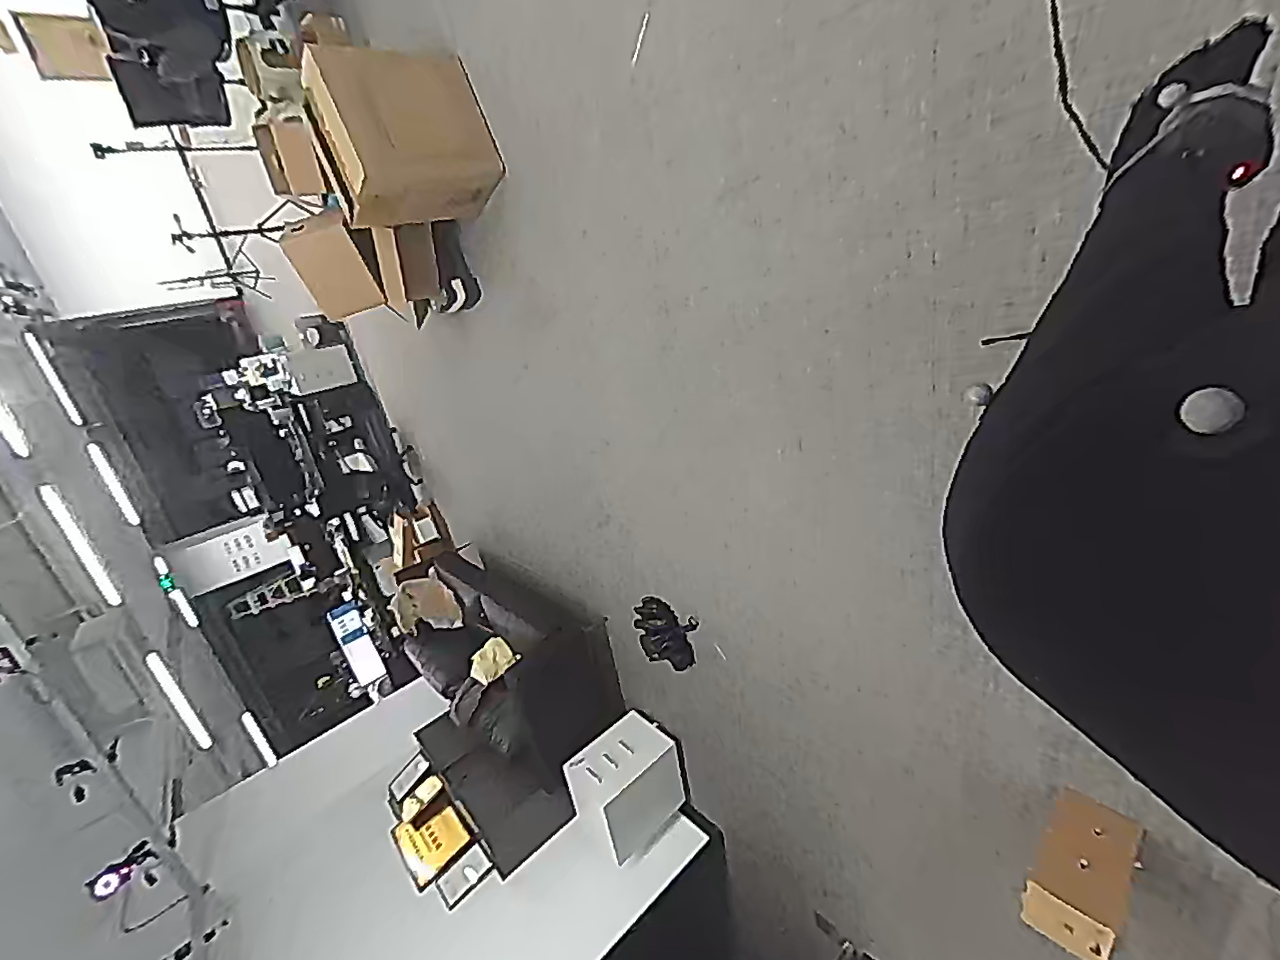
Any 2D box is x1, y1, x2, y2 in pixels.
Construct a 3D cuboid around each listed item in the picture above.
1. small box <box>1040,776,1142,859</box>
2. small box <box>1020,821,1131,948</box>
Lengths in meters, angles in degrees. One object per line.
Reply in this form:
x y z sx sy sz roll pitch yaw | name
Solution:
1.239 0.959 1.491 0.179 0.176 0.168 15 124 49 | small box
1.124 1.029 1.398 0.179 0.176 0.168 18 126 46 | small box
